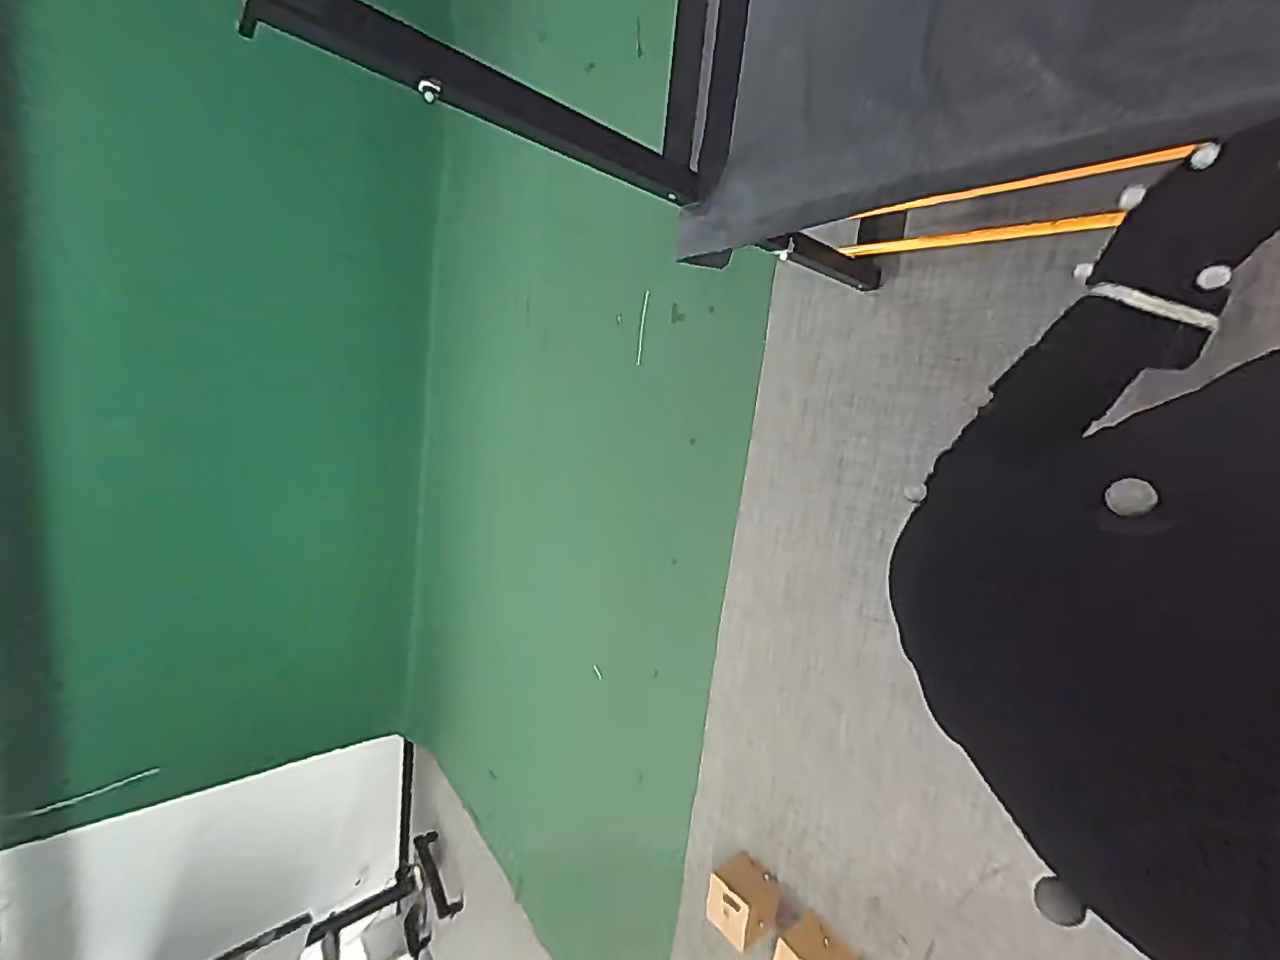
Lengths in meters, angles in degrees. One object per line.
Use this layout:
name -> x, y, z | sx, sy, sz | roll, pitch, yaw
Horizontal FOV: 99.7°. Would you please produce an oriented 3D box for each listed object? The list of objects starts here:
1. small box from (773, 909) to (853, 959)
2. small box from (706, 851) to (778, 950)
small box -> 0.522, 1.477, 1.644 | 0.168, 0.176, 0.179 | 20, 105, 48
small box -> 0.350, 1.422, 1.844 | 0.168, 0.176, 0.179 | 15, 103, 49
